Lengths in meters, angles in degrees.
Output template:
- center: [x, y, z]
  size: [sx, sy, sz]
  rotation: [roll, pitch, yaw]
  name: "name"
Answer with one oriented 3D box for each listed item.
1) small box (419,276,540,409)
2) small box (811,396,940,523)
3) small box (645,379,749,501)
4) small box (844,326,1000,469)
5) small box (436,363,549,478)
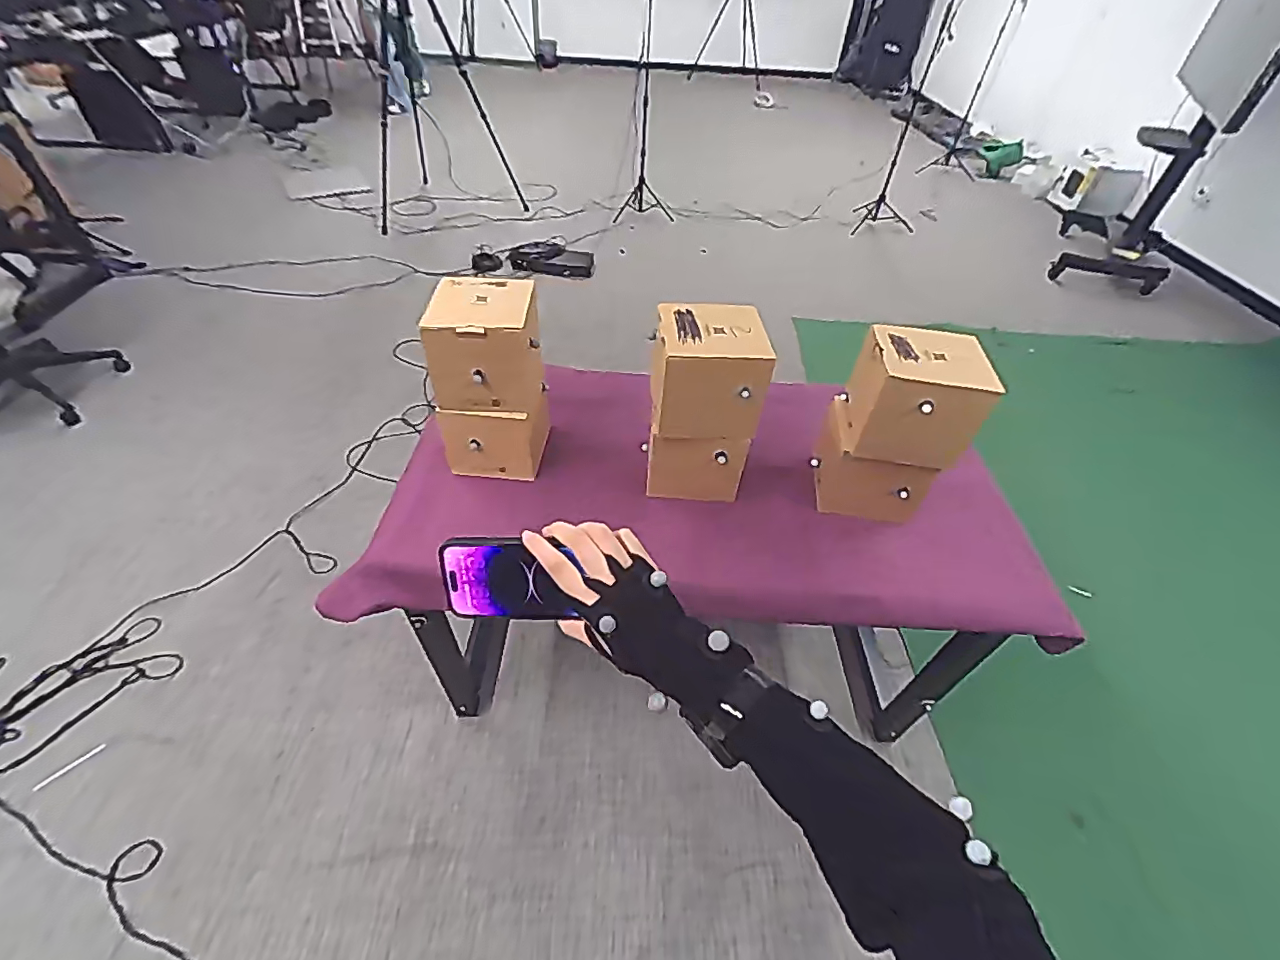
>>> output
- center: [-0.273, -0.242, 0.967]
  size: [0.168, 0.176, 0.179]
  rotation: [2, 47, -3]
  name: "small box"
- center: [0.444, -0.036, 1.049]
  size: [0.179, 0.176, 0.168]
  rotation: [9, 46, 5]
  name: "small box"
- center: [0.106, -0.075, 1.061]
  size: [0.179, 0.176, 0.168]
  rotation: [5, 46, 1]
  name: "small box"
- center: [0.460, -0.138, 0.921]
  size: [0.179, 0.176, 0.168]
  rotation: [9, 46, 4]
  name: "small box"
- center: [-0.281, -0.122, 1.079]
  size: [0.168, 0.176, 0.179]
  rotation: [5, 46, 1]
  name: "small box"
